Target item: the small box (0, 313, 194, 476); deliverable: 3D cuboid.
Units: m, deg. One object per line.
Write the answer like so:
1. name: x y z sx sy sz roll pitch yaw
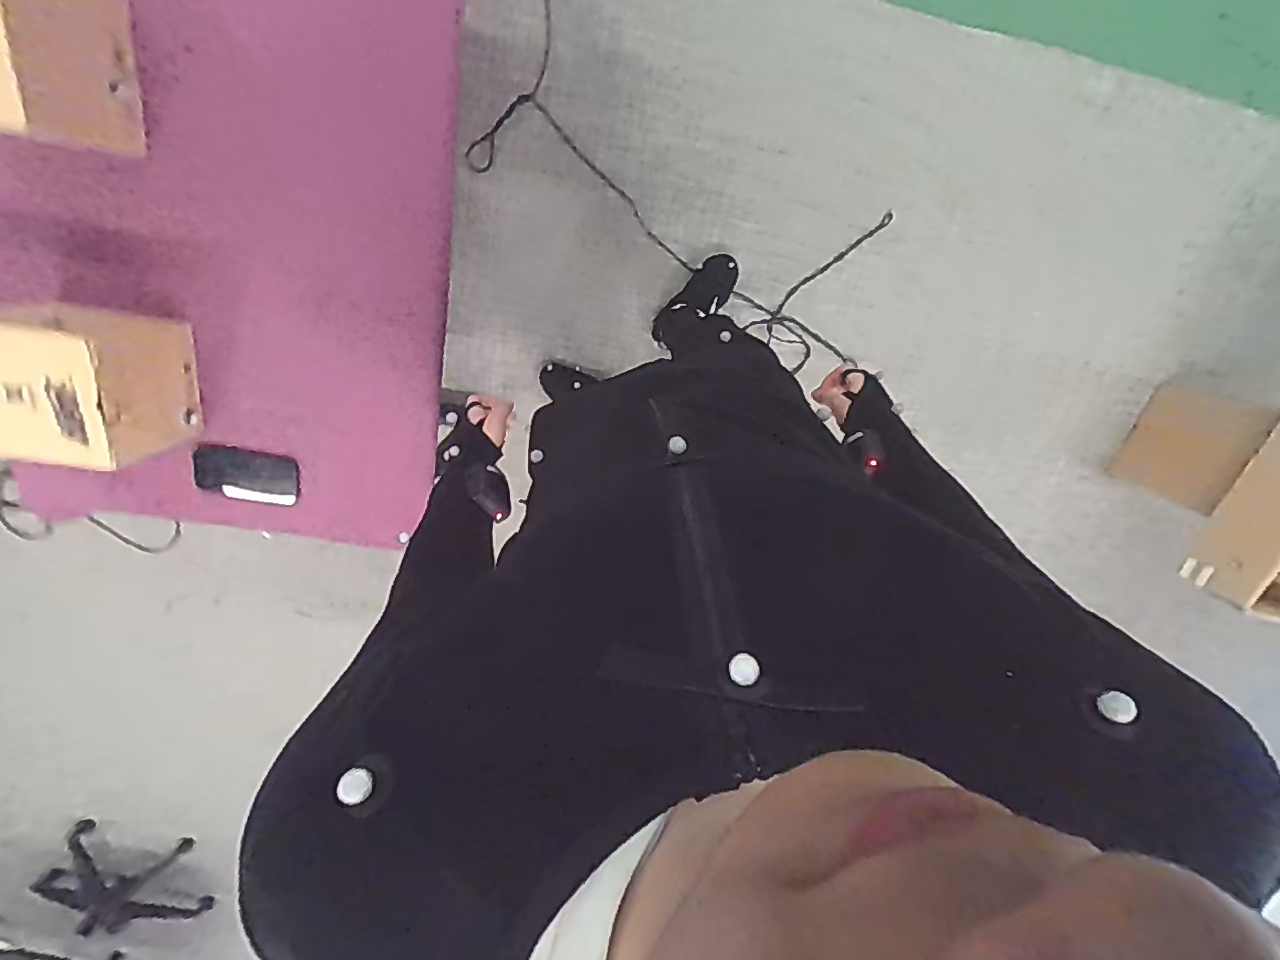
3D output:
1. small box: -0.733 -0.120 0.712 0.179 0.176 0.168 8 111 -6

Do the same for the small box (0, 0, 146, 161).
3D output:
1. small box: -0.698 -0.459 0.581 0.179 0.176 0.168 8 112 -6
